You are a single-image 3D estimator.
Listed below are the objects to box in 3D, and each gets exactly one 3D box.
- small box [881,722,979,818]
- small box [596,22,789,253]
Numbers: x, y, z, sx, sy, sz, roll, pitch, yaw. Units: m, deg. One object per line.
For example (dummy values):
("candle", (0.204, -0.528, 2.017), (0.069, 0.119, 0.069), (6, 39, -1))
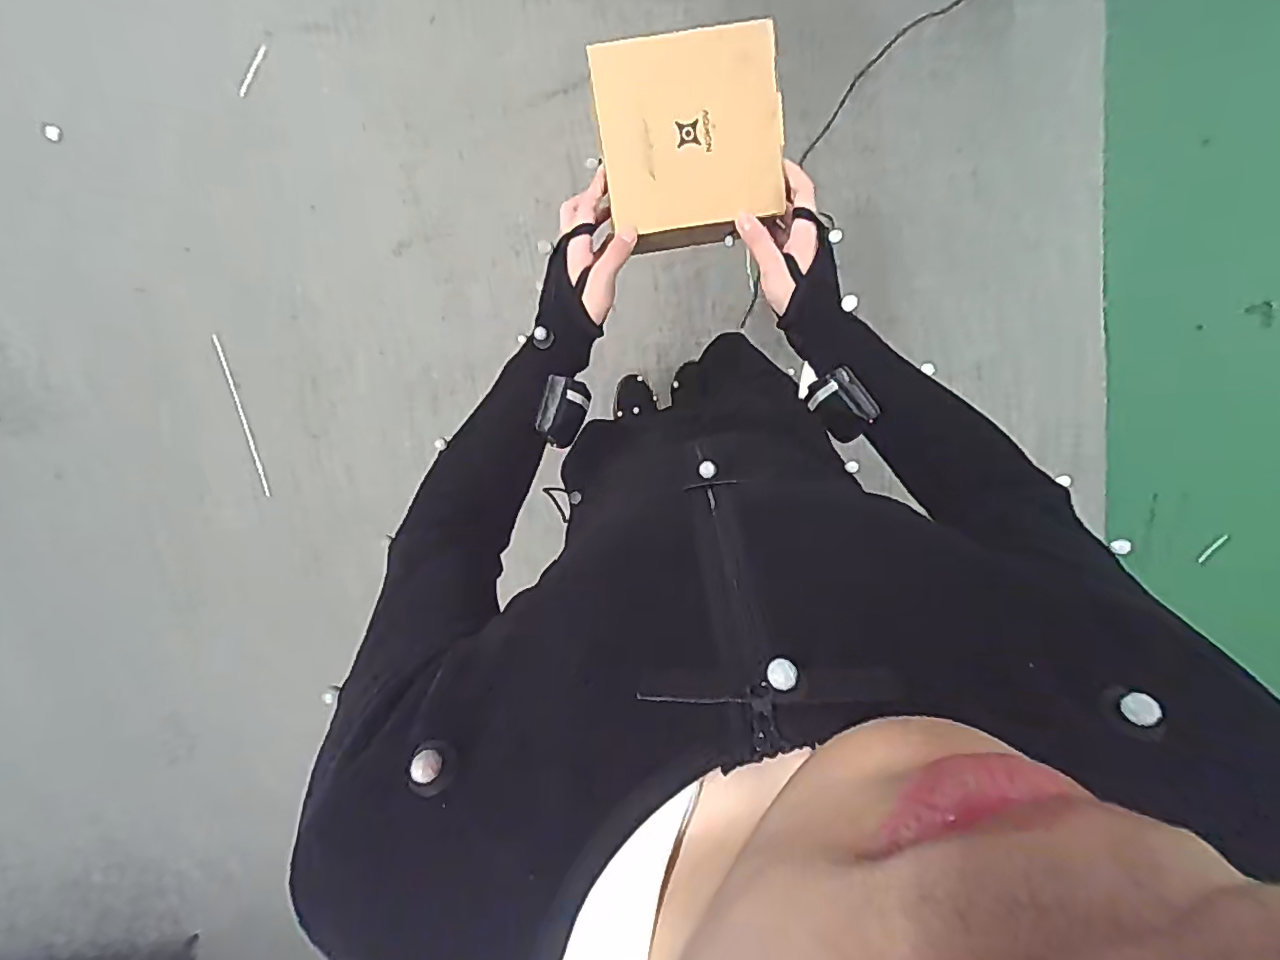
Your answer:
("small box", (0.788, 0.791, 1.488), (0.179, 0.176, 0.168), (2, 102, 0))
("small box", (0.049, -0.353, 0.591), (0.179, 0.176, 0.168), (-8, 106, -1))
